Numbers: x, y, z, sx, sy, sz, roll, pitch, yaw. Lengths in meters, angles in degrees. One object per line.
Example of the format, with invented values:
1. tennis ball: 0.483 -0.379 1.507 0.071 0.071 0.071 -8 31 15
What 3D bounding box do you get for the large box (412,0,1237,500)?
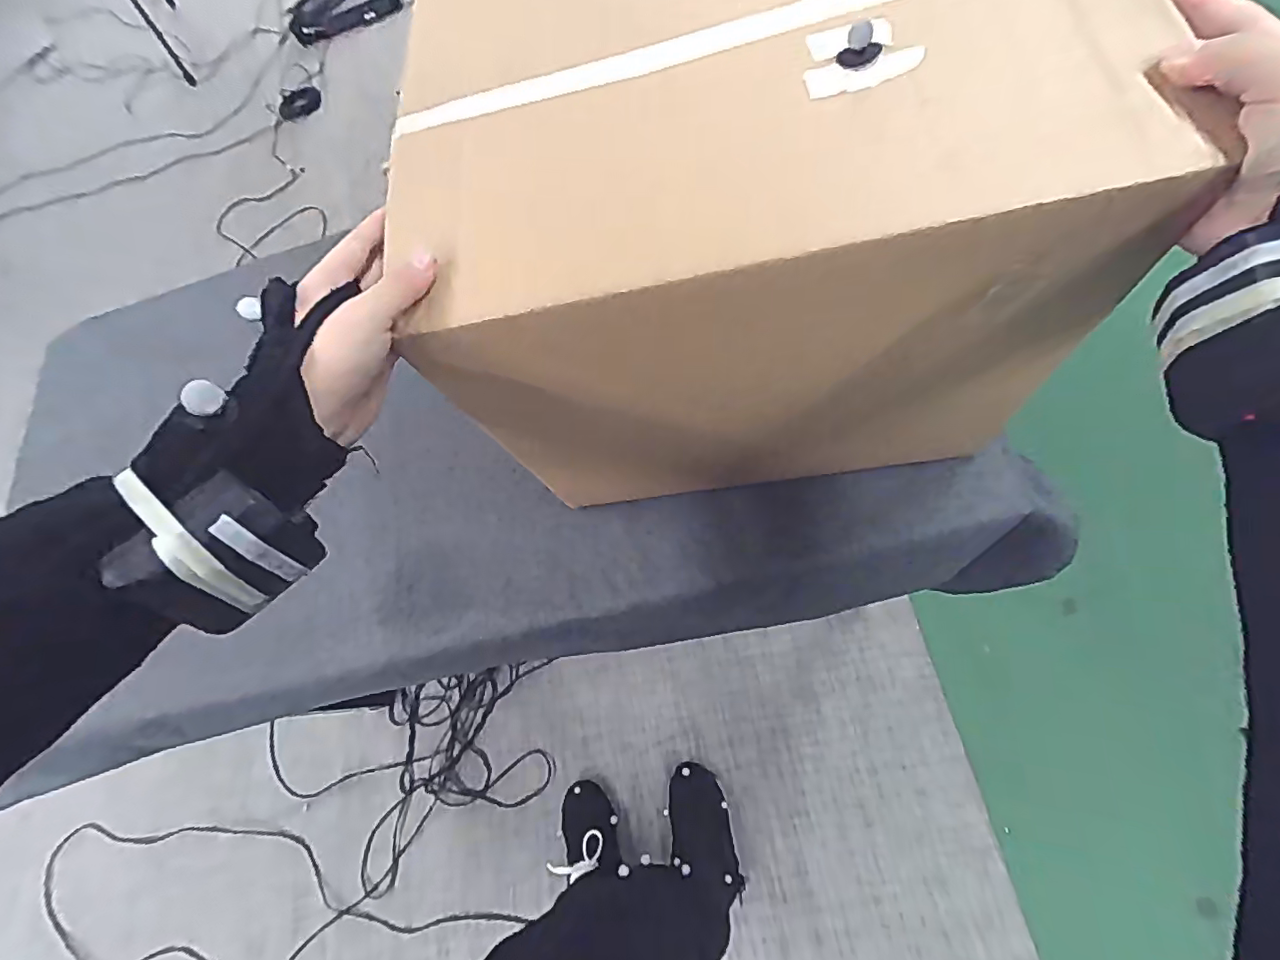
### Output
1. large box: 0.083 -0.198 0.454 0.408 0.320 0.320 -8 69 9
